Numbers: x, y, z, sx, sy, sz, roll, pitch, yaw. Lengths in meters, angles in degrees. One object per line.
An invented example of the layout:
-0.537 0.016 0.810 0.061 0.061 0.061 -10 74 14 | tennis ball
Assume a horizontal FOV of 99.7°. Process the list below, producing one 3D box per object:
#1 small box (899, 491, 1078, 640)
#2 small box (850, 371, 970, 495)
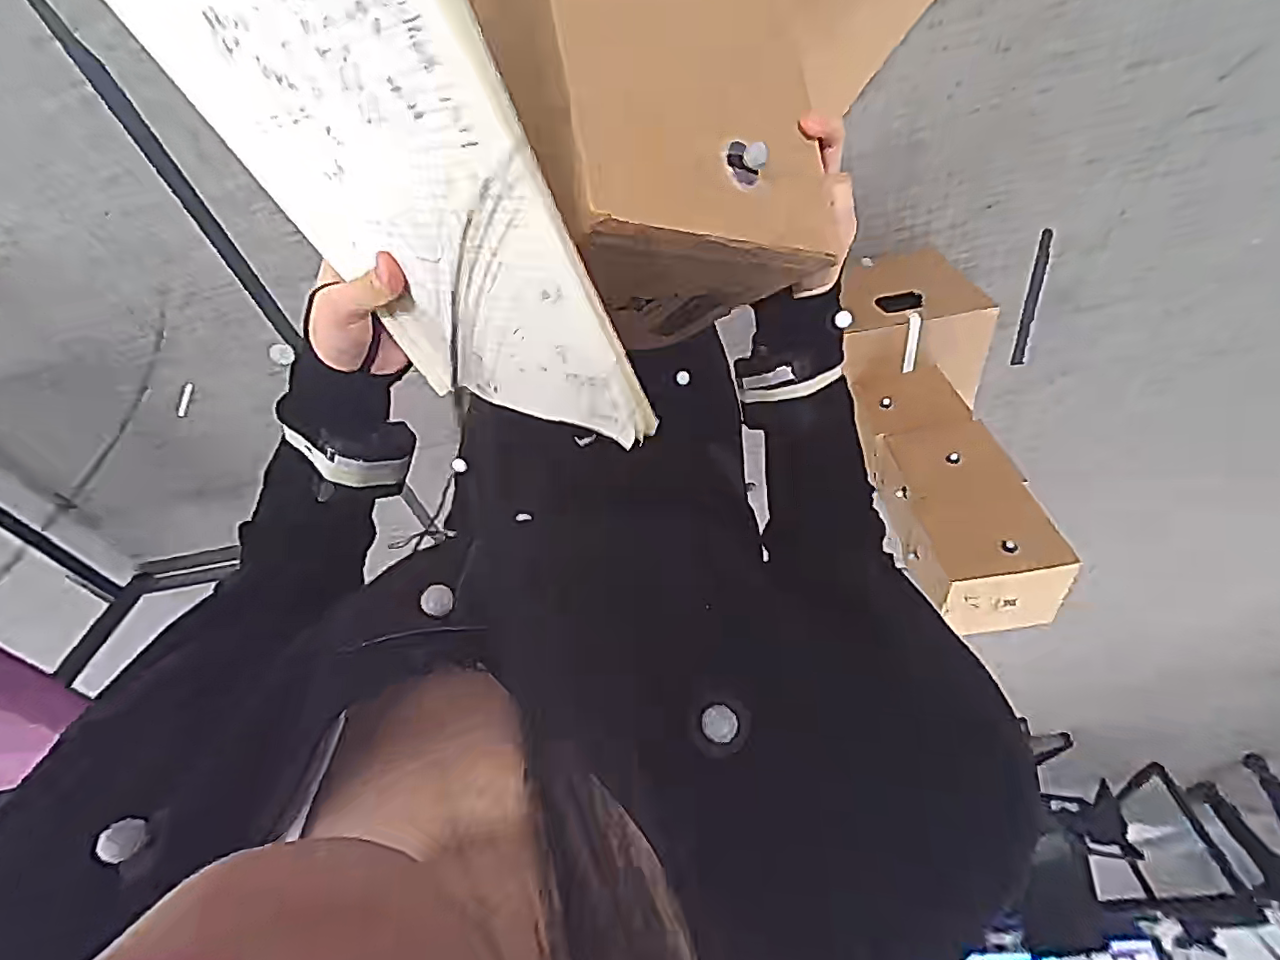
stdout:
0.550 0.136 0.884 0.179 0.176 0.168 -11 133 9 | small box
0.542 -0.098 1.116 0.179 0.176 0.168 -13 133 10 | small box
